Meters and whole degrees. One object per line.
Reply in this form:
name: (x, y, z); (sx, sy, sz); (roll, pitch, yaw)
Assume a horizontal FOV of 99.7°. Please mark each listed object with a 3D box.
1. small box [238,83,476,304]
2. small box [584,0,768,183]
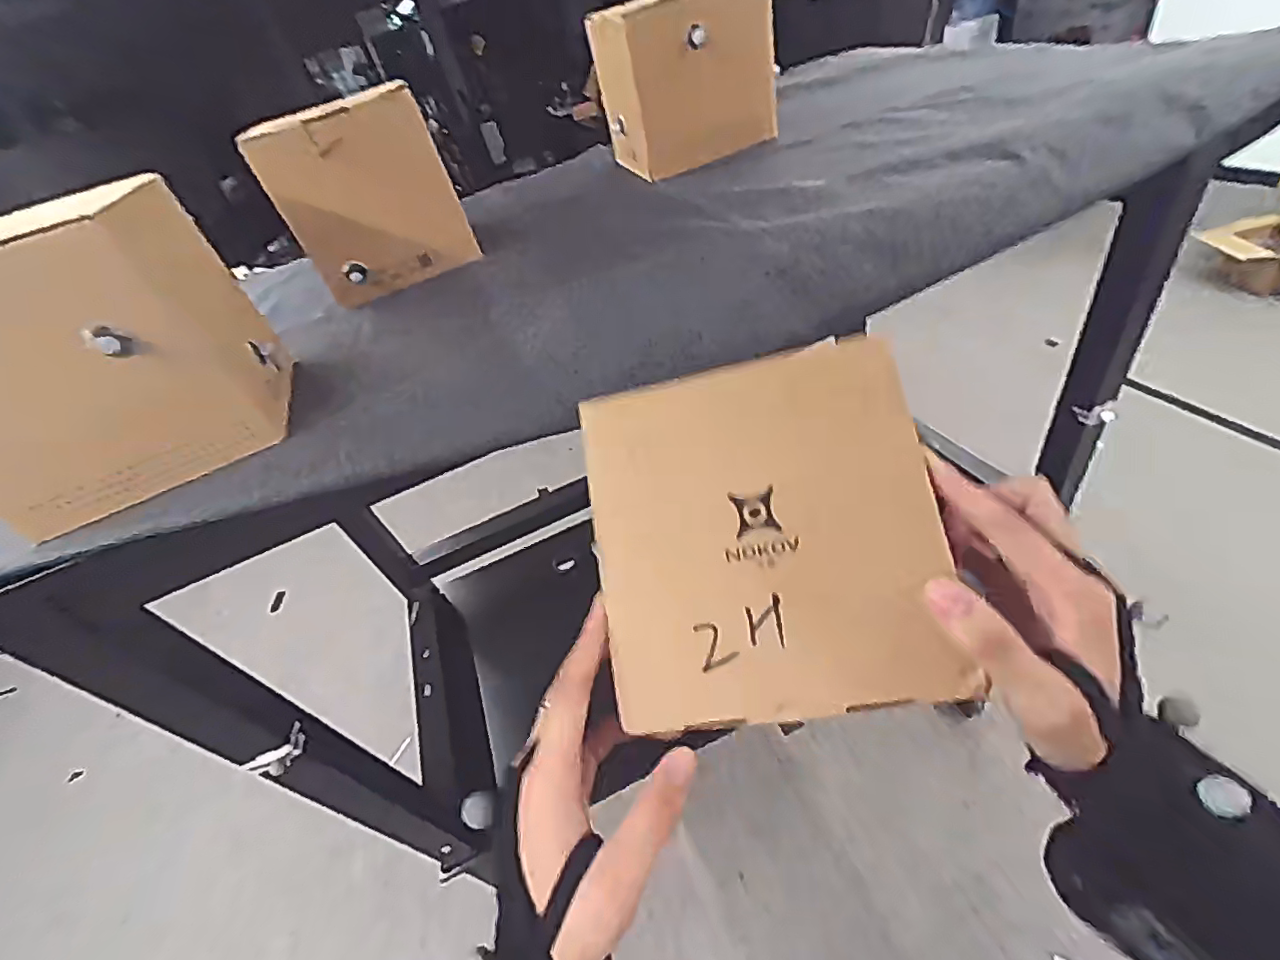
small box: (-0.303, -0.322, 0.615); (0.168, 0.176, 0.179); (-25, 41, -7)
small box: (0.050, -0.505, 0.685); (0.179, 0.176, 0.168); (-23, 42, -4)
